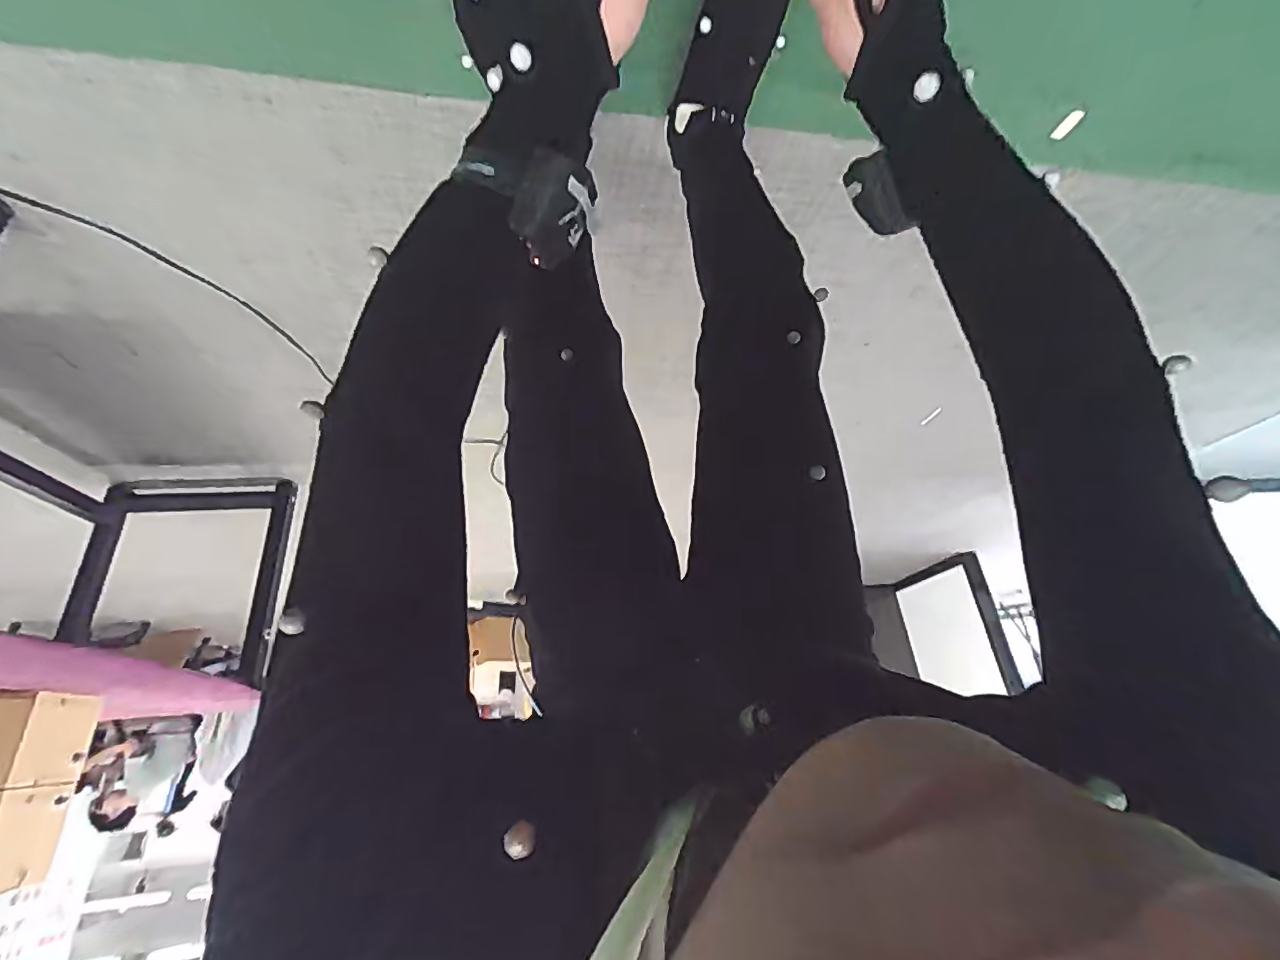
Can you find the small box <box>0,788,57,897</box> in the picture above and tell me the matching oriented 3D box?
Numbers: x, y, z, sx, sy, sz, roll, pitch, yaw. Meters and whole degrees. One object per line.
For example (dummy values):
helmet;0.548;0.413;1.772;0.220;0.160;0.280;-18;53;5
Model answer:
small box;-1.202;0.649;0.955;0.179;0.176;0.168;0;154;-9
